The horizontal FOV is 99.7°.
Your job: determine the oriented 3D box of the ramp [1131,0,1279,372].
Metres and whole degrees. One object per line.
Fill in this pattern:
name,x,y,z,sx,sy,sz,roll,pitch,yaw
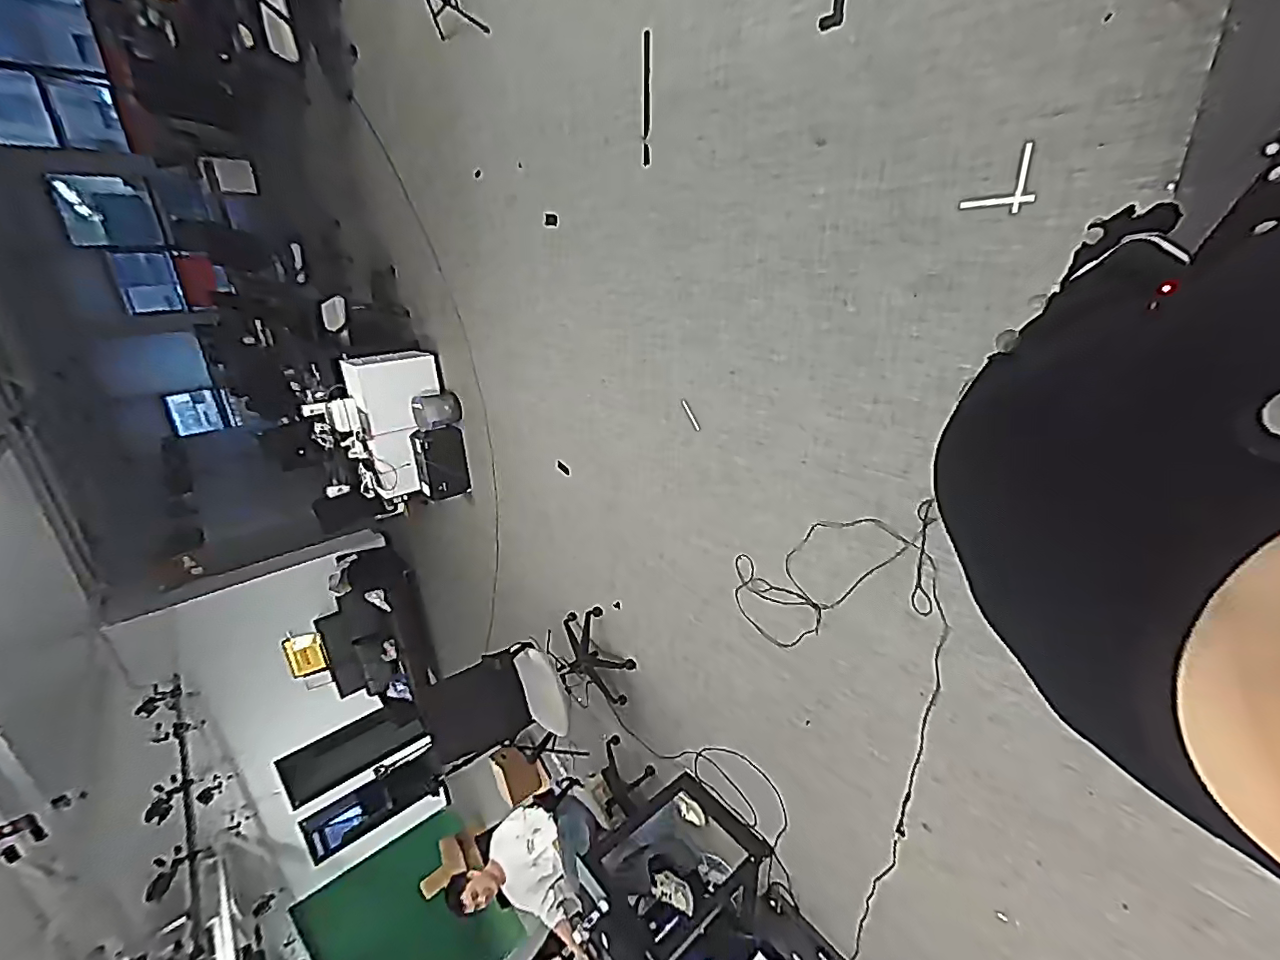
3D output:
ramp,1.105,-0.615,0.724,0.509,0.206,0.991,20,122,45
